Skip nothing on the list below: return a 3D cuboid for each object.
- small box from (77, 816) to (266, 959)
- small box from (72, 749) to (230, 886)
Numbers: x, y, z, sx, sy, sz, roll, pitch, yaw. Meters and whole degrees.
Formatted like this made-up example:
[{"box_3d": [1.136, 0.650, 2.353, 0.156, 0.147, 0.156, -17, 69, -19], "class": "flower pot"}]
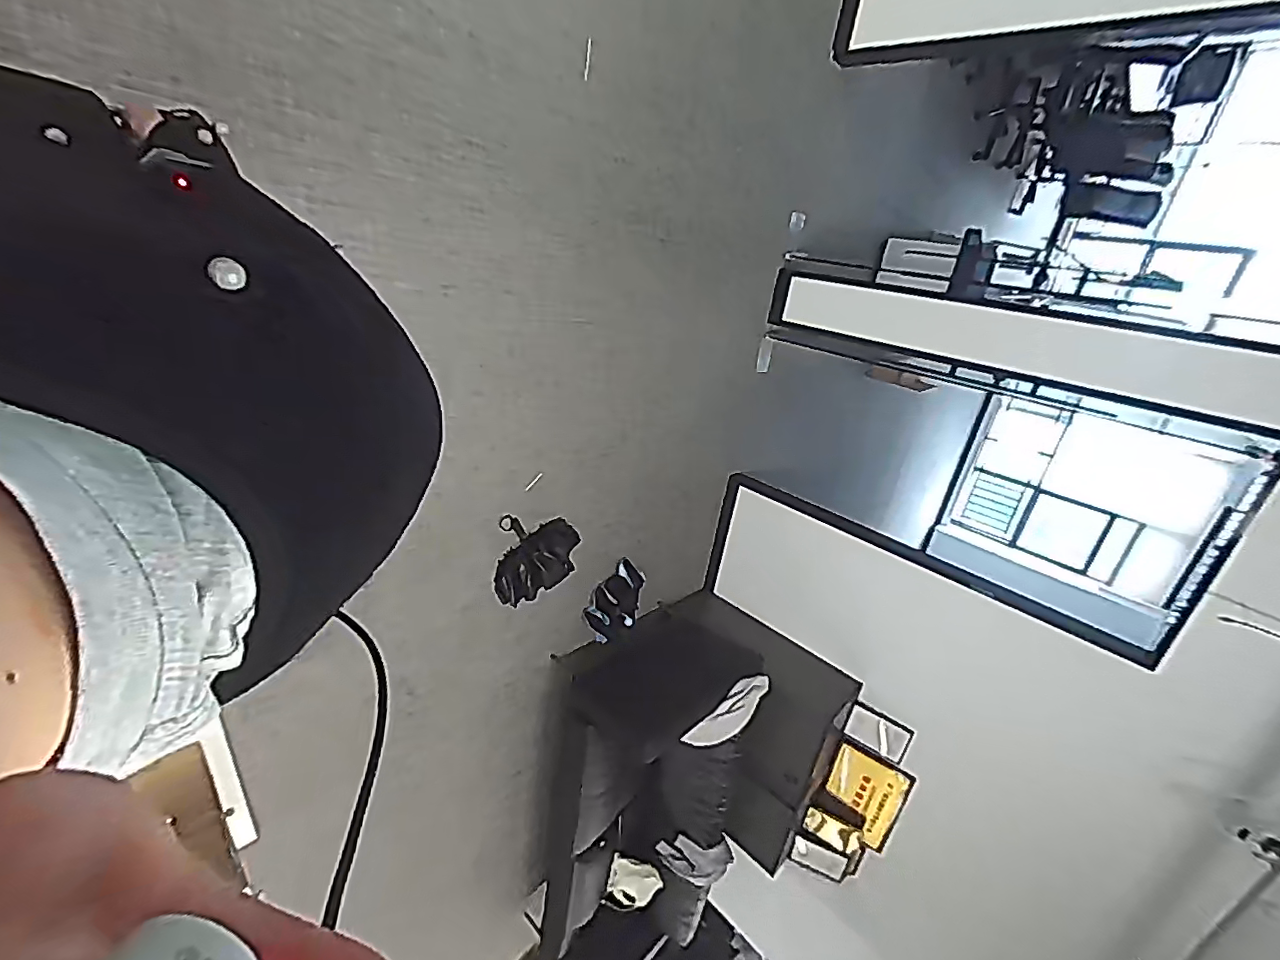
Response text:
[{"box_3d": [-0.692, 0.656, 0.806, 0.168, 0.176, 0.179, -22, 127, -43], "class": "small box"}, {"box_3d": [-0.808, 0.600, 0.905, 0.168, 0.176, 0.179, -19, 127, -43], "class": "small box"}]
